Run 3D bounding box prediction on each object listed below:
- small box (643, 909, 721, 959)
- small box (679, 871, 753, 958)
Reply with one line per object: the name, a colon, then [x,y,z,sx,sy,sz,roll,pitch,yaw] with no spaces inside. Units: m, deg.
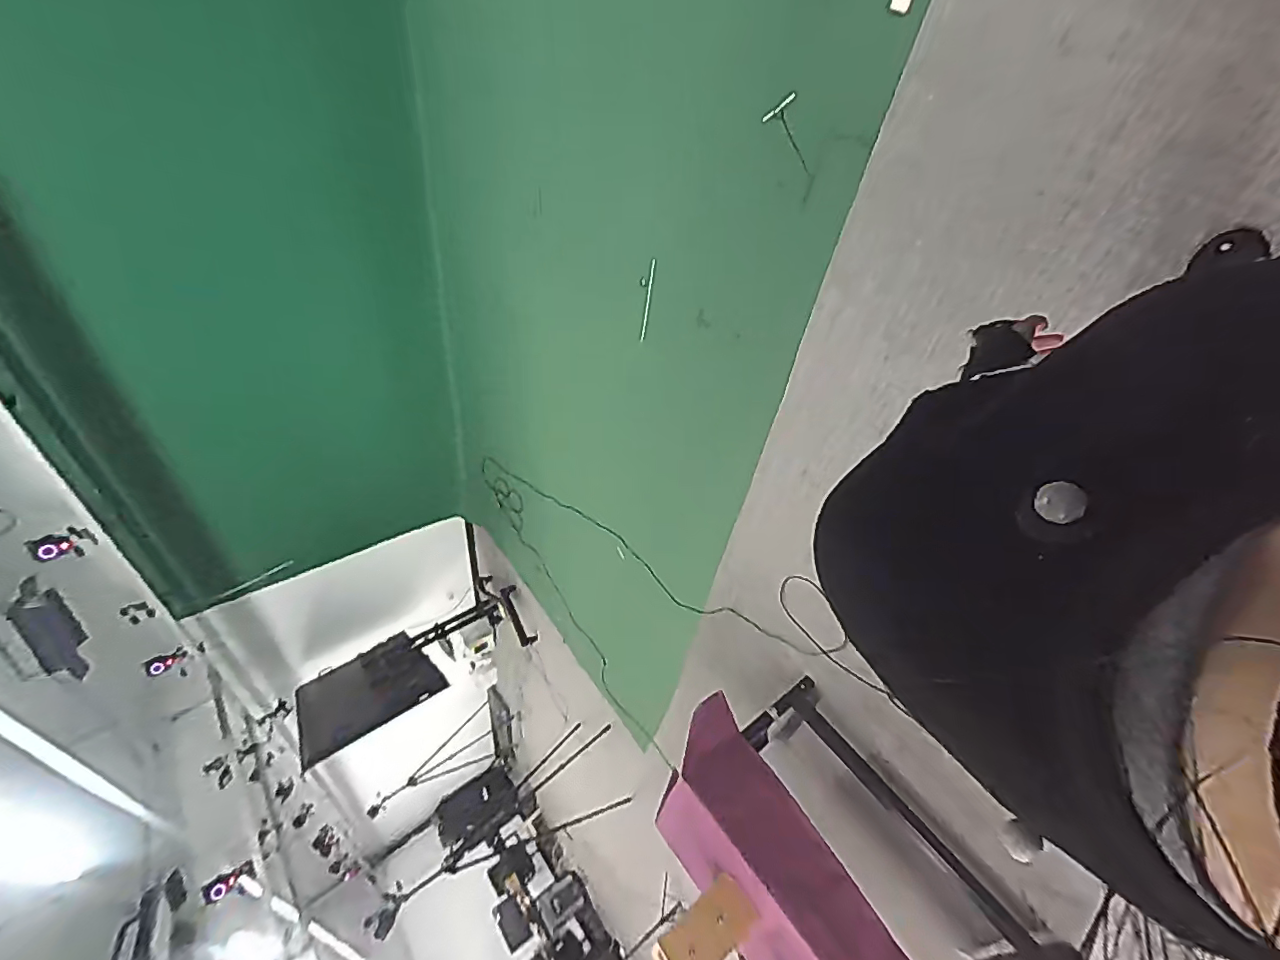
small box: [0.139,1.584,1.809,0.179,0.176,0.168,44,141,32]
small box: [0.268,1.530,1.895,0.179,0.176,0.168,46,142,32]
